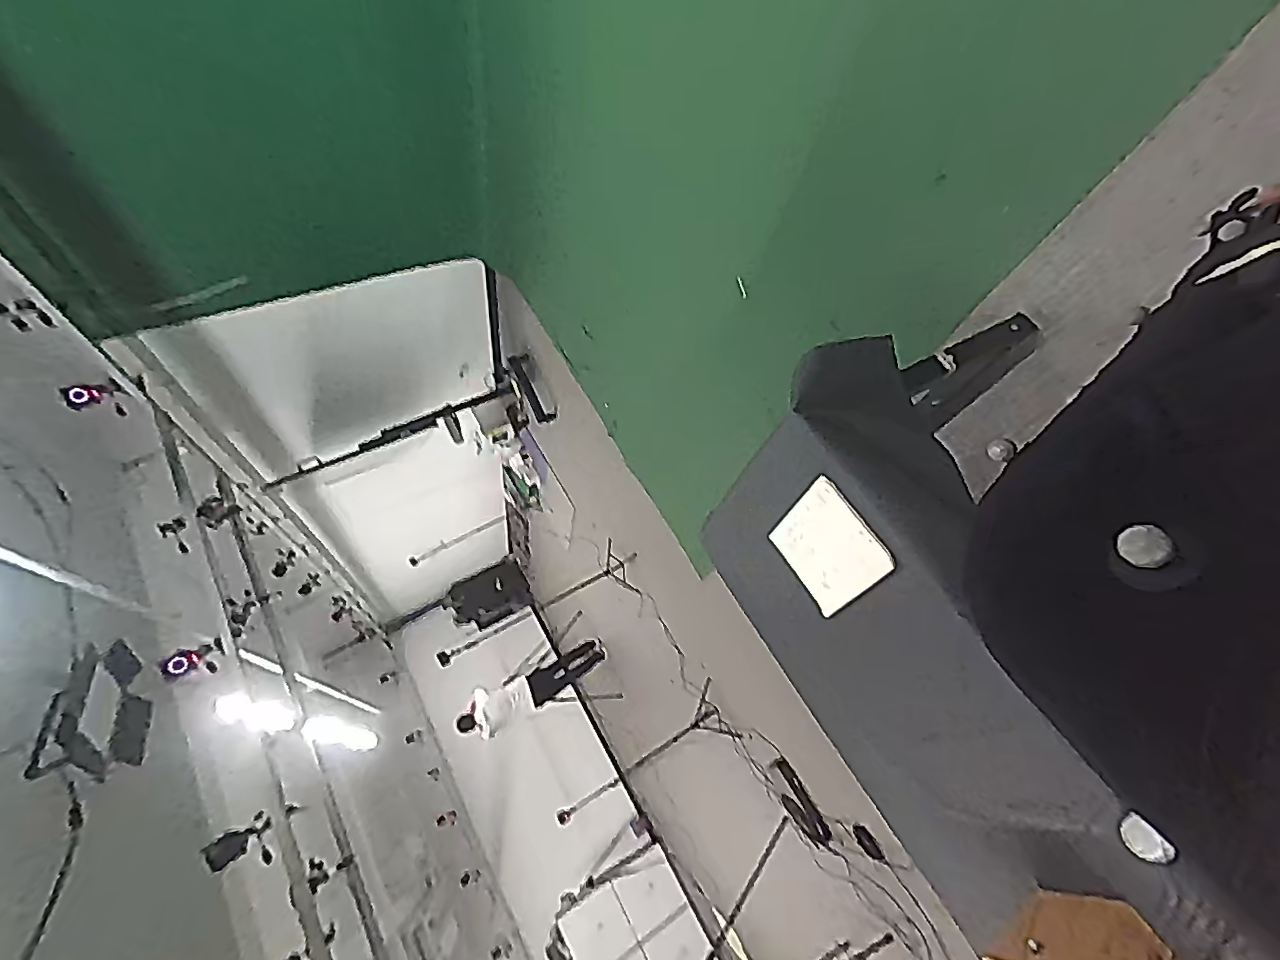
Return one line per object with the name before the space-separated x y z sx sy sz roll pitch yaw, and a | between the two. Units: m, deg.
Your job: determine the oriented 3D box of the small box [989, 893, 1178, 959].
small box | 0.666 0.736 0.775 0.168 0.176 0.179 56 157 24
